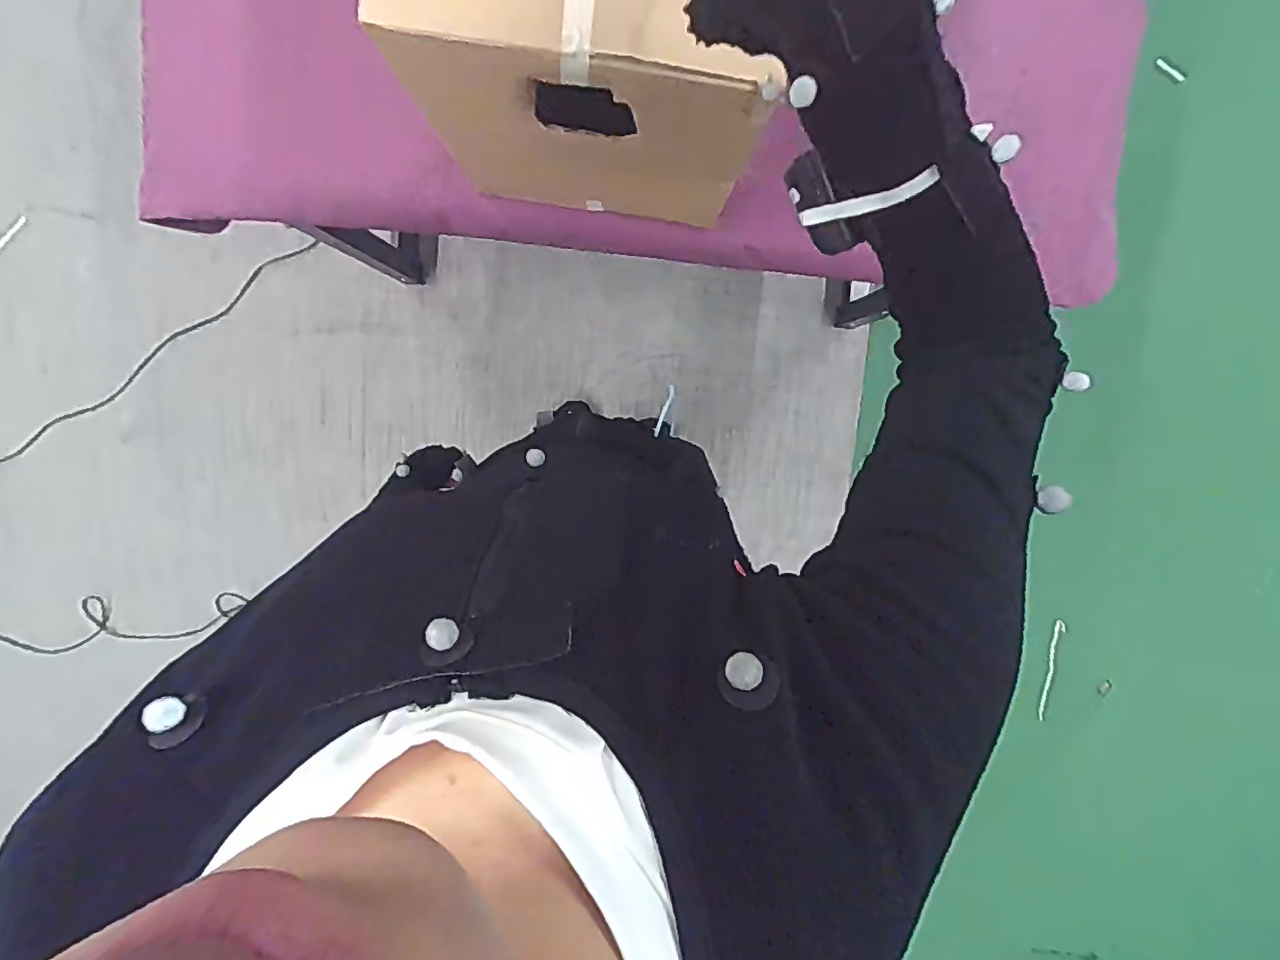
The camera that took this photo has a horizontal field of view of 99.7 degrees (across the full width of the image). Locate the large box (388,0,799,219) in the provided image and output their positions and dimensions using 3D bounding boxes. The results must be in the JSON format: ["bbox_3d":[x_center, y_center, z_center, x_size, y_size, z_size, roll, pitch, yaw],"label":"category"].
[{"bbox_3d":[-0.021,-0.532,0.530,0.320,0.320,0.408,7,99,-3],"label":"large box"}]
